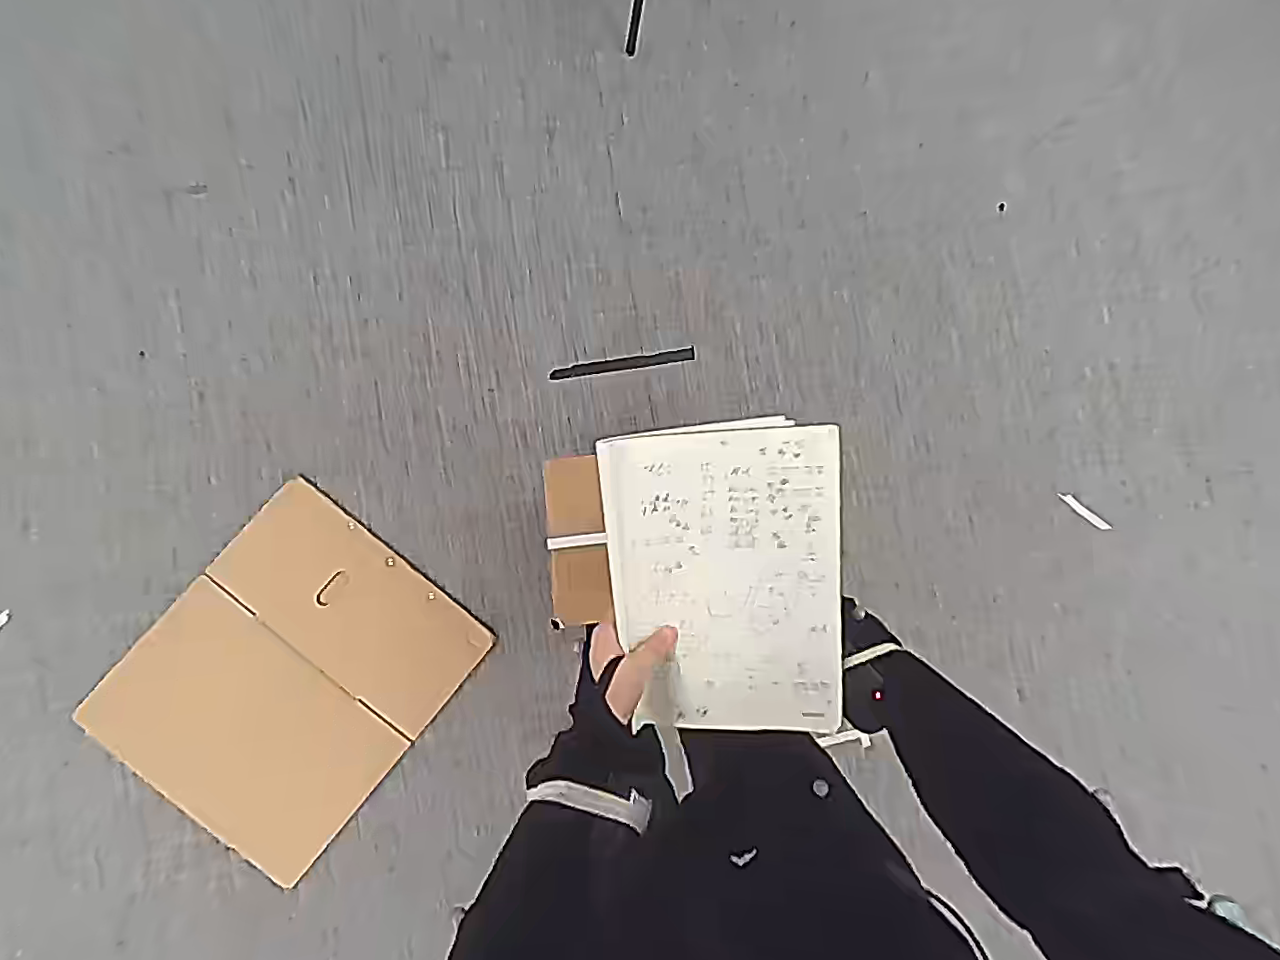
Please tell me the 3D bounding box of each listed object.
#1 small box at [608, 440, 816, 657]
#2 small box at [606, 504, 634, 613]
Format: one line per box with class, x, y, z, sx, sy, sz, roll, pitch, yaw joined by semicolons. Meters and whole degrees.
small box;0.062;0.071;0.590;0.168;0.176;0.179;-14;86;-5
small box;0.039;0.111;0.917;0.168;0.176;0.179;-11;85;-6
